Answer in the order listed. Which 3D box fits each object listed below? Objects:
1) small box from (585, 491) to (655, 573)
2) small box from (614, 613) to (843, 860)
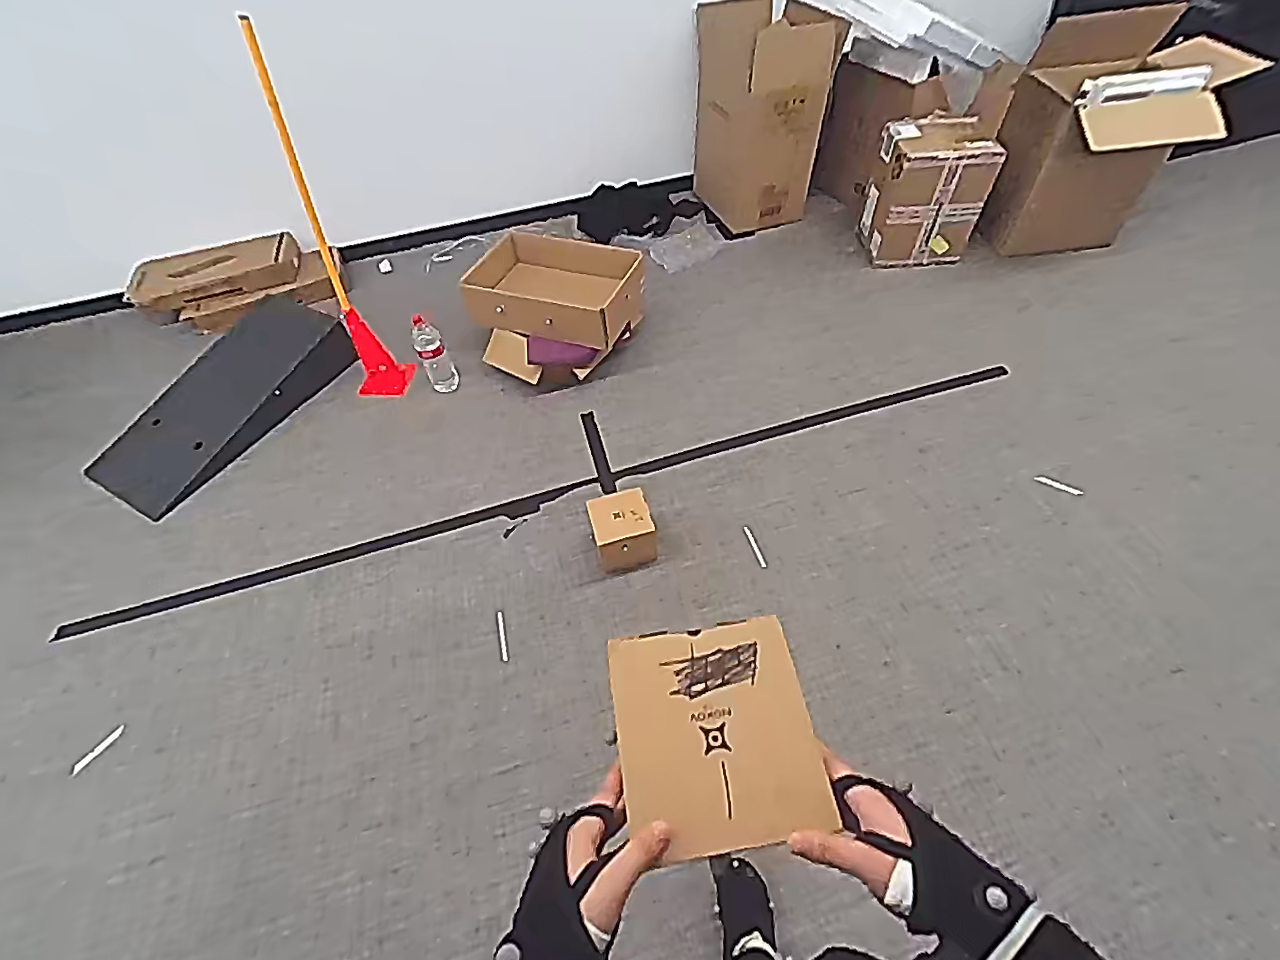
[{"bbox_3d":[-0.059,0.163,1.652,0.179,0.176,0.168,-14,53,-7],"label":"small box"},{"bbox_3d":[0.065,0.251,0.523,0.168,0.176,0.179,-7,56,-5],"label":"small box"}]
